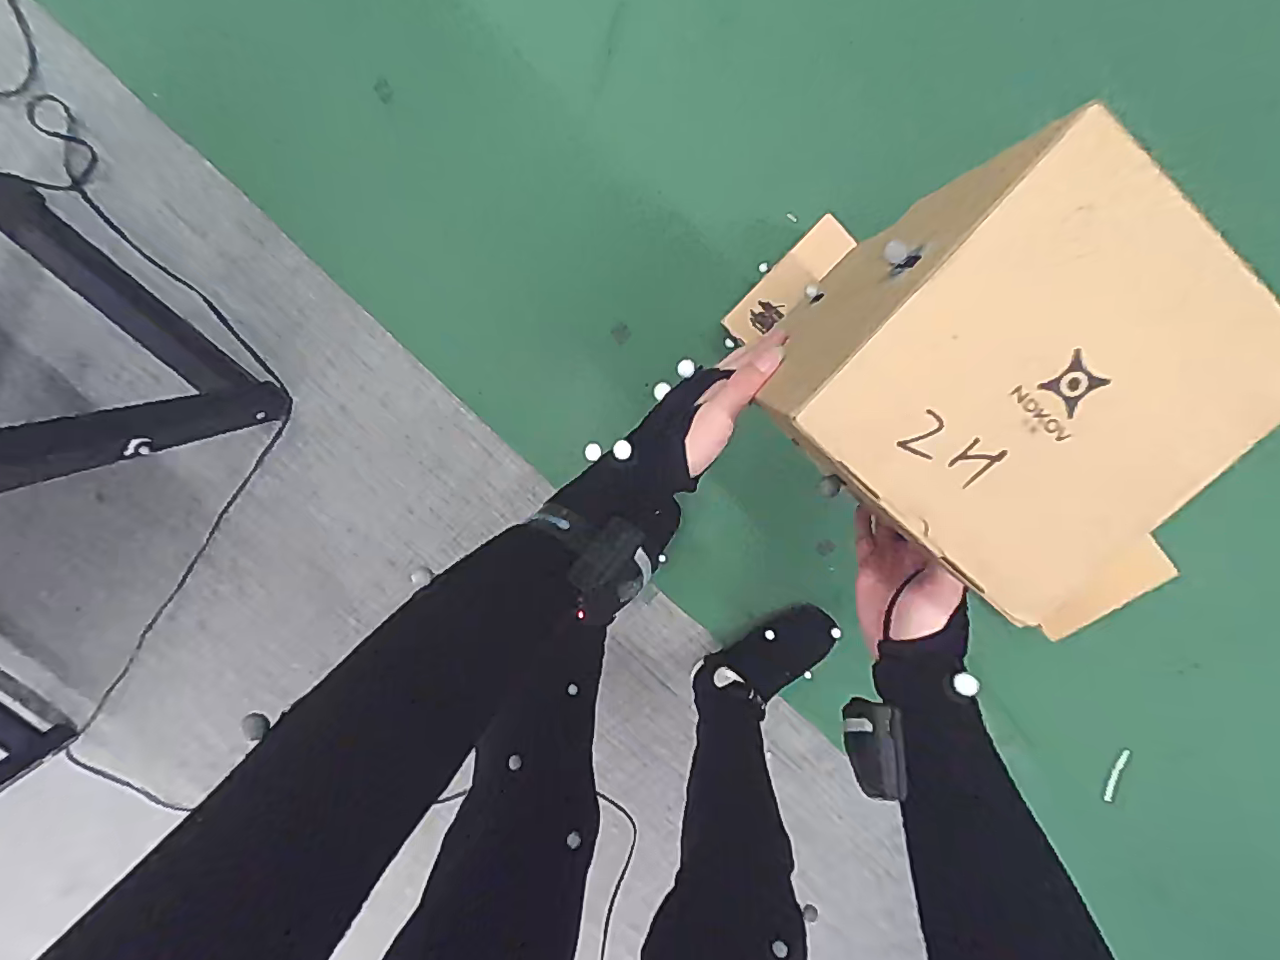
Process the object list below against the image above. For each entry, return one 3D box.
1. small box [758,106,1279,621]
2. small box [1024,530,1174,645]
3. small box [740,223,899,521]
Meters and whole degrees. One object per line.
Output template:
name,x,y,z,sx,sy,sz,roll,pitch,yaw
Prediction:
small box,0.193,-0.060,0.325,0.168,0.176,0.179,41,103,-7
small box,0.592,0.096,0.792,0.179,0.176,0.168,-40,99,18
small box,0.206,-0.098,0.485,0.168,0.176,0.179,44,102,-8
